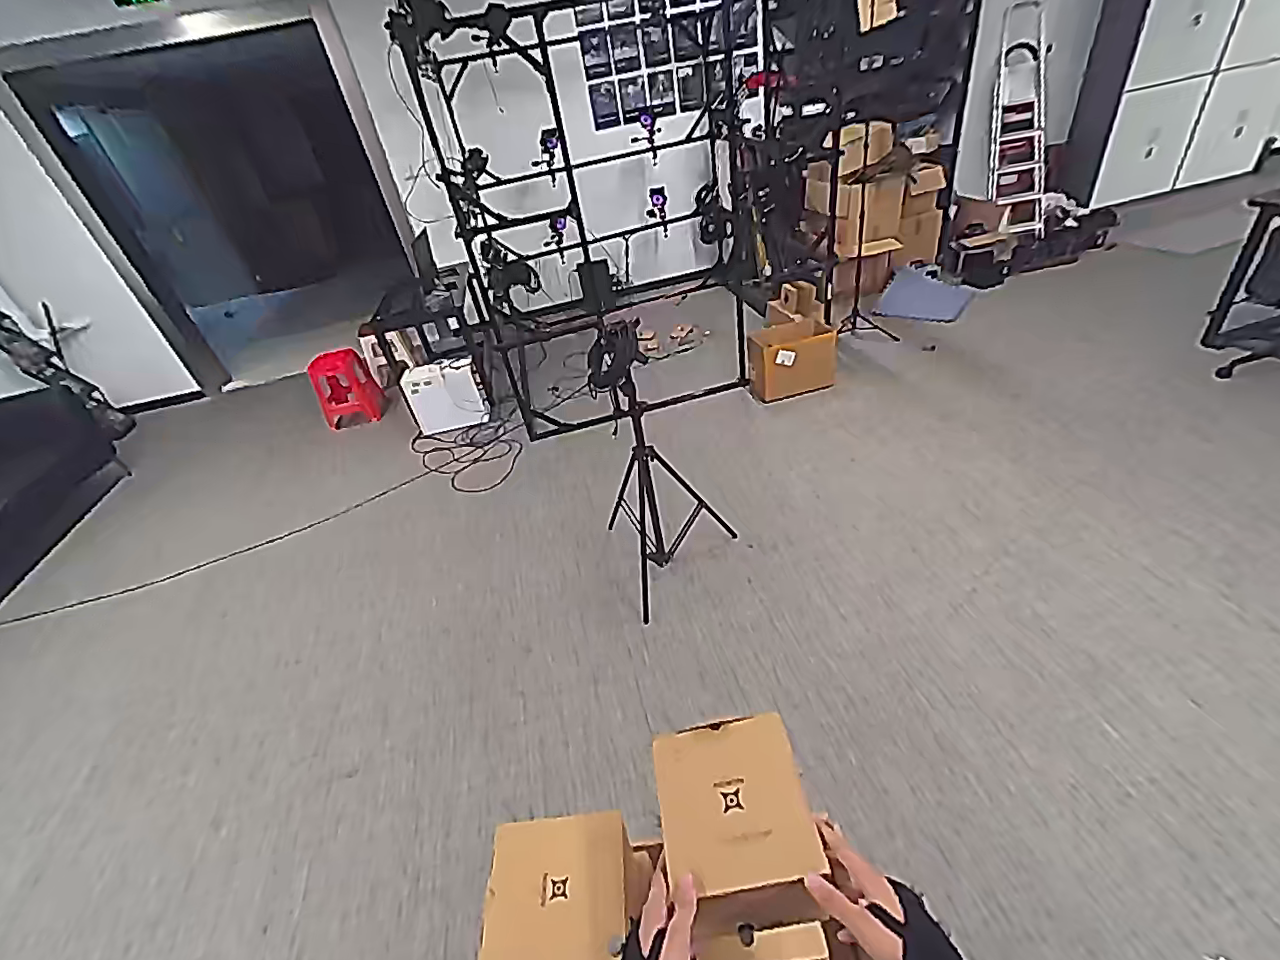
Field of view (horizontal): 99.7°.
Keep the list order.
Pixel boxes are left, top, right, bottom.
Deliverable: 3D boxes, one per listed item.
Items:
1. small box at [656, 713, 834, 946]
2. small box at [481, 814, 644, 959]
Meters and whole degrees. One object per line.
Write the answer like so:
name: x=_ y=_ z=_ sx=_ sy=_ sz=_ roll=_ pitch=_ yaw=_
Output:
small box: x=0.120 y=0.418 z=0.652 sx=0.168 sy=0.176 sz=0.179 roll=-13 pitch=36 yaw=3
small box: x=-0.090 y=0.572 z=0.710 sx=0.179 sy=0.176 sz=0.168 roll=-9 pitch=35 yaw=2
